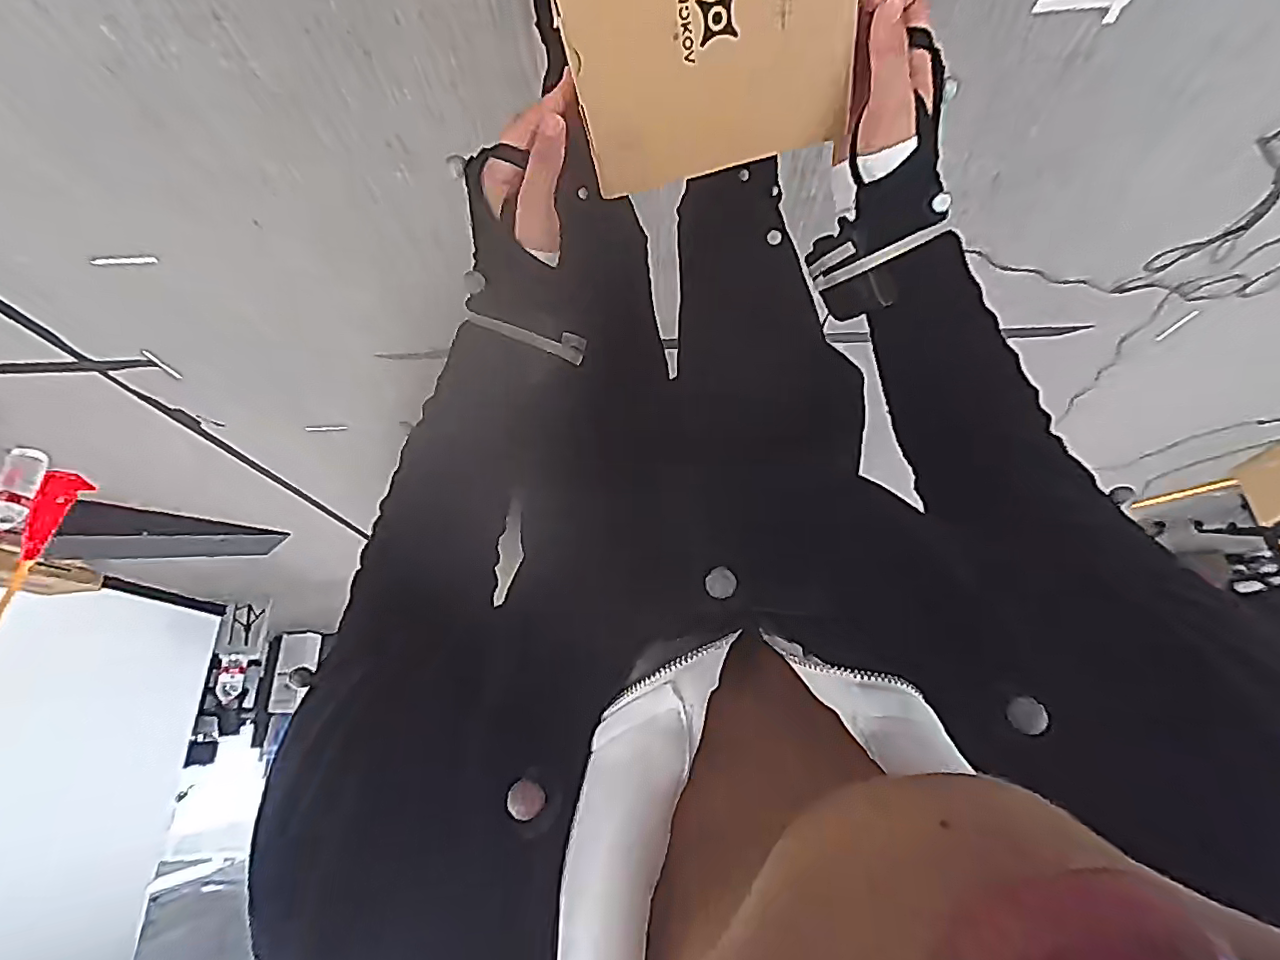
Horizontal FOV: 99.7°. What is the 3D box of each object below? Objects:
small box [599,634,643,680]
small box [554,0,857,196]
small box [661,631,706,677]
[{"bbox_3d":[-0.082,0.746,2.274,0.179,0.176,0.168,-2,156,-2],"label":"small box"},{"bbox_3d":[0.035,-0.333,0.374,0.179,0.176,0.168,-13,140,5],"label":"small box"},{"bbox_3d":[0.178,0.729,2.269,0.168,0.176,0.179,-2,156,-2],"label":"small box"}]
